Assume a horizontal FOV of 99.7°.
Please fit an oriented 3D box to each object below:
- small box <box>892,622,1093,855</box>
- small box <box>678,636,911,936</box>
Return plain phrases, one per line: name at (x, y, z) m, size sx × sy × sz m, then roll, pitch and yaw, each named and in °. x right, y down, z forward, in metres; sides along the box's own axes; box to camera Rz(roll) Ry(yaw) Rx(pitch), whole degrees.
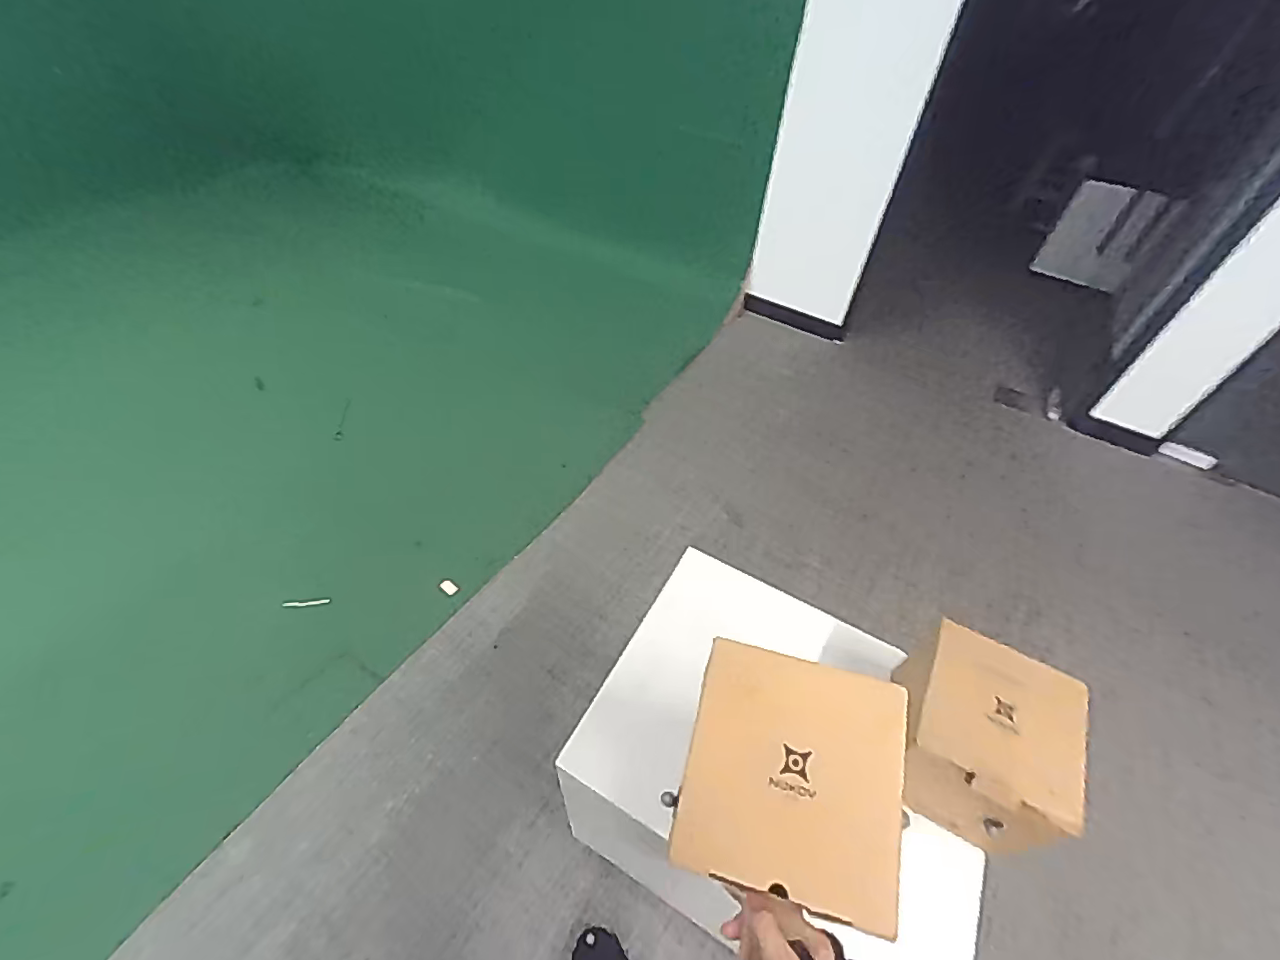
small box at (0.402, 0.317, 0.658) m, size 0.168 × 0.176 × 0.179 m, roll 27°, pitch 51°, yaw 17°
small box at (0.132, 0.269, 0.500) m, size 0.168 × 0.176 × 0.179 m, roll 12°, pitch 61°, yaw 11°
